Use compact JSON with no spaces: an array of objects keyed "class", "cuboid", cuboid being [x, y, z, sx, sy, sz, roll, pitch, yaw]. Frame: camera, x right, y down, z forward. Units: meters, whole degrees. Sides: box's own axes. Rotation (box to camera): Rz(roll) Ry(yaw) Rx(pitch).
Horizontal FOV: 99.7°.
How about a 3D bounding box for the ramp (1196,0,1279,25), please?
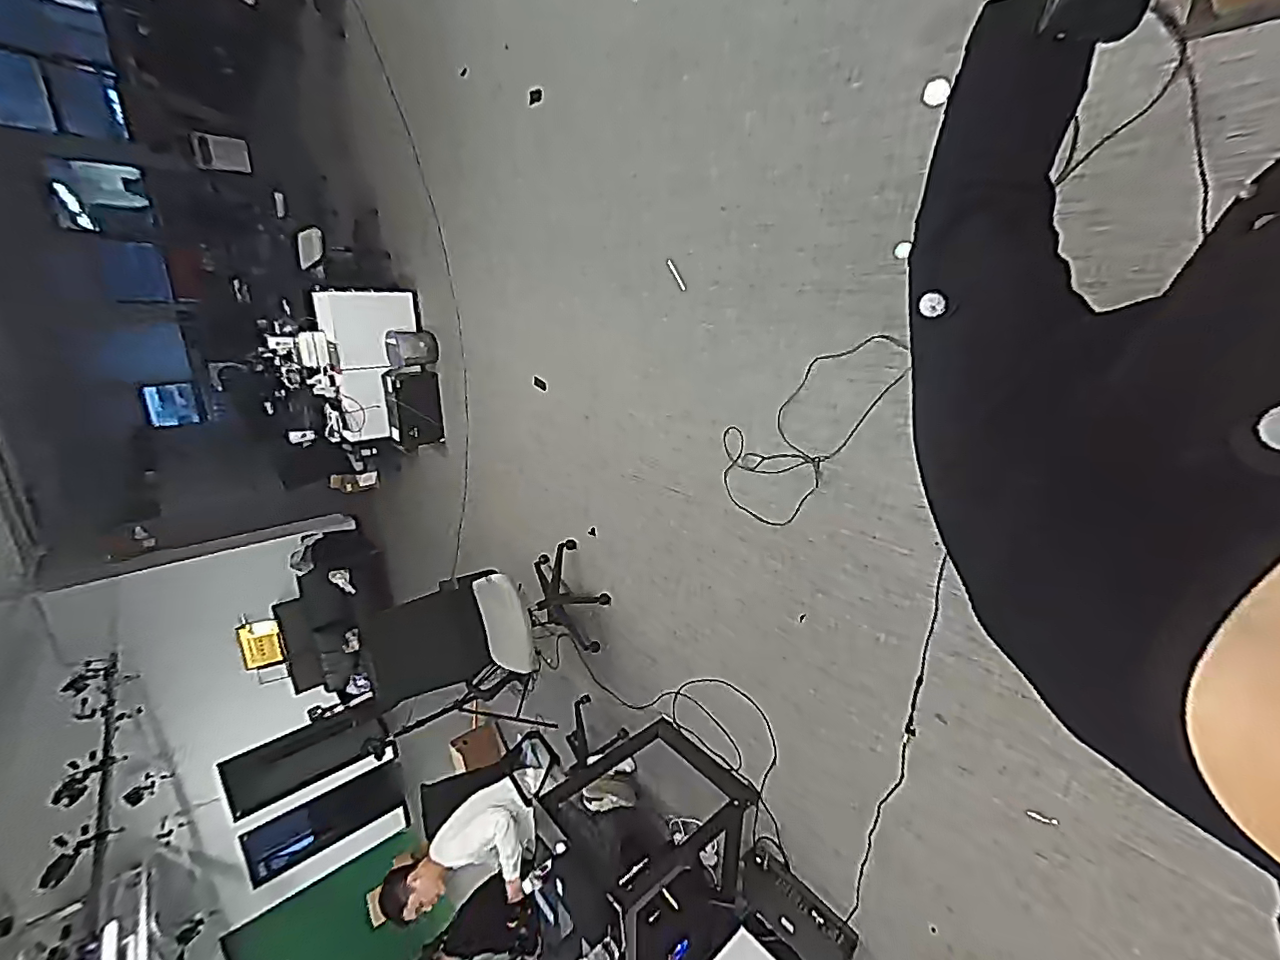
[{"class":"ramp","cuboid":[1.085,-1.196,0.583,0.509,0.206,0.991,18,115,46]}]
